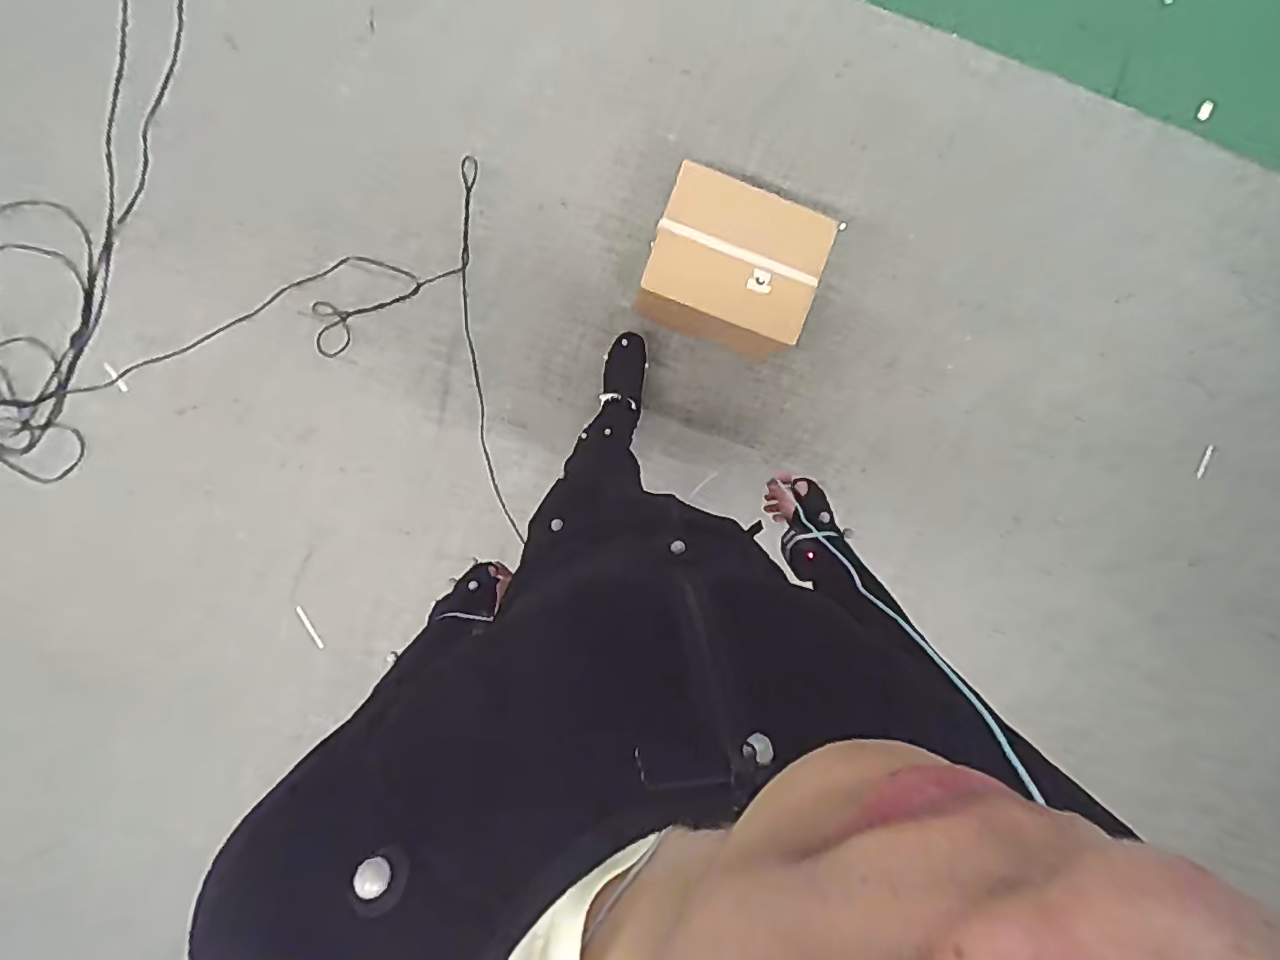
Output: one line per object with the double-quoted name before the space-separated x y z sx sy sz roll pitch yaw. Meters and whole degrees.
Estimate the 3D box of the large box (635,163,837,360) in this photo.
"large box" 0.226 -0.546 1.428 0.408 0.320 0.320 20 93 -4
